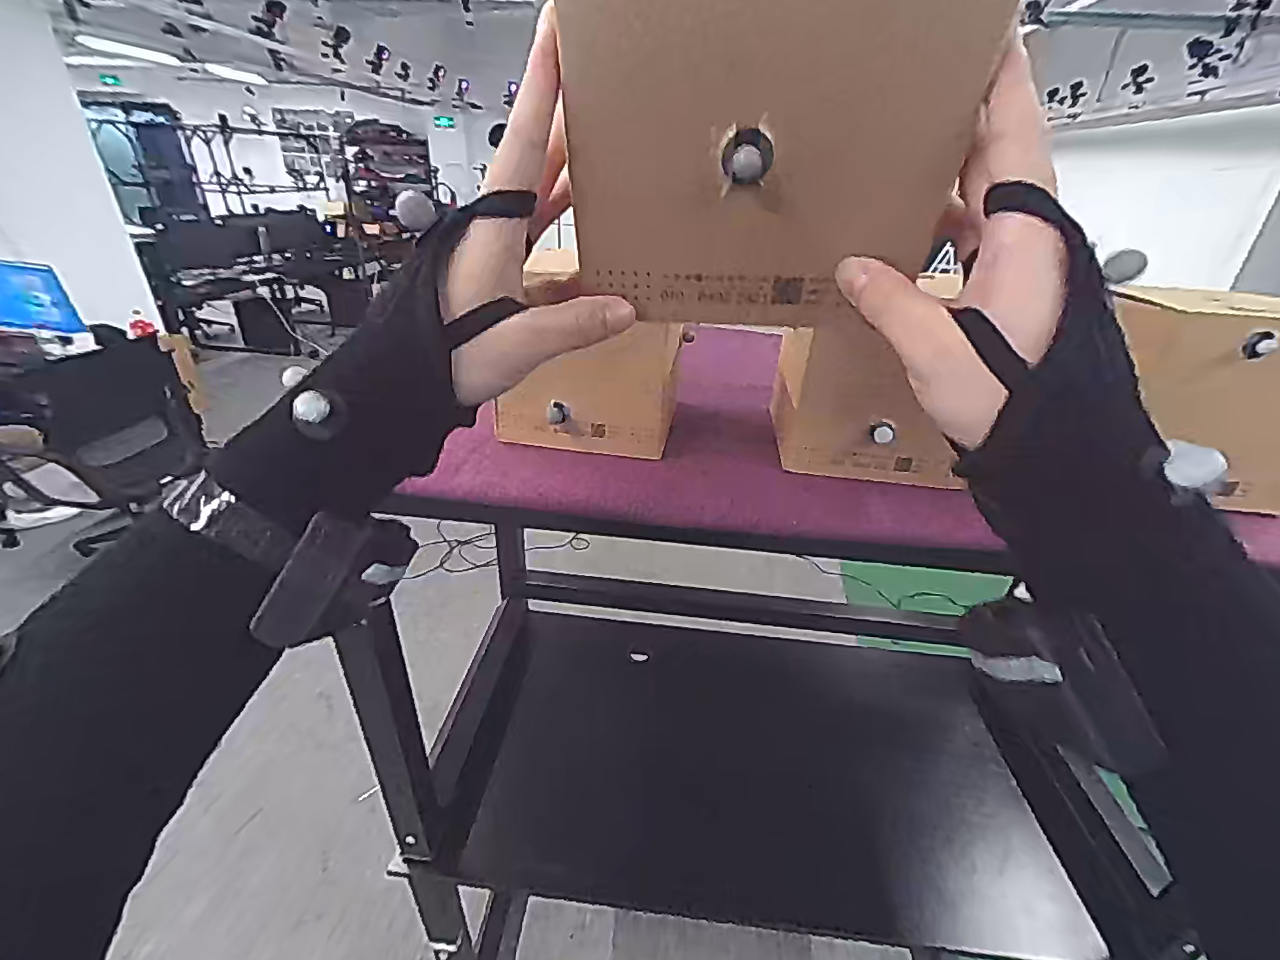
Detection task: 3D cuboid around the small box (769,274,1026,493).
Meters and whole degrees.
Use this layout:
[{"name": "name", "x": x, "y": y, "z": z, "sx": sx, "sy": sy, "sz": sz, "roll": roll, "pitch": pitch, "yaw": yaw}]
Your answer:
[{"name": "small box", "x": 0.226, "y": -0.107, "z": 0.537, "sx": 0.168, "sy": 0.176, "sz": 0.179, "roll": 7, "pitch": 30, "yaw": 6}]

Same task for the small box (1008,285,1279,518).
[{"name": "small box", "x": 0.499, "y": -0.084, "z": 0.521, "sx": 0.168, "sy": 0.176, "sz": 0.179, "roll": 6, "pitch": 27, "yaw": 6}]

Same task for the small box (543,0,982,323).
[{"name": "small box", "x": 0.055, "y": -0.200, "z": 0.289, "sx": 0.168, "sy": 0.176, "sz": 0.179, "roll": 4, "pitch": 46, "yaw": 5}]

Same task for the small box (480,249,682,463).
[{"name": "small box", "x": -0.048, "y": -0.135, "z": 0.560, "sx": 0.168, "sy": 0.176, "sz": 0.179, "roll": 6, "pitch": 29, "yaw": 7}]
